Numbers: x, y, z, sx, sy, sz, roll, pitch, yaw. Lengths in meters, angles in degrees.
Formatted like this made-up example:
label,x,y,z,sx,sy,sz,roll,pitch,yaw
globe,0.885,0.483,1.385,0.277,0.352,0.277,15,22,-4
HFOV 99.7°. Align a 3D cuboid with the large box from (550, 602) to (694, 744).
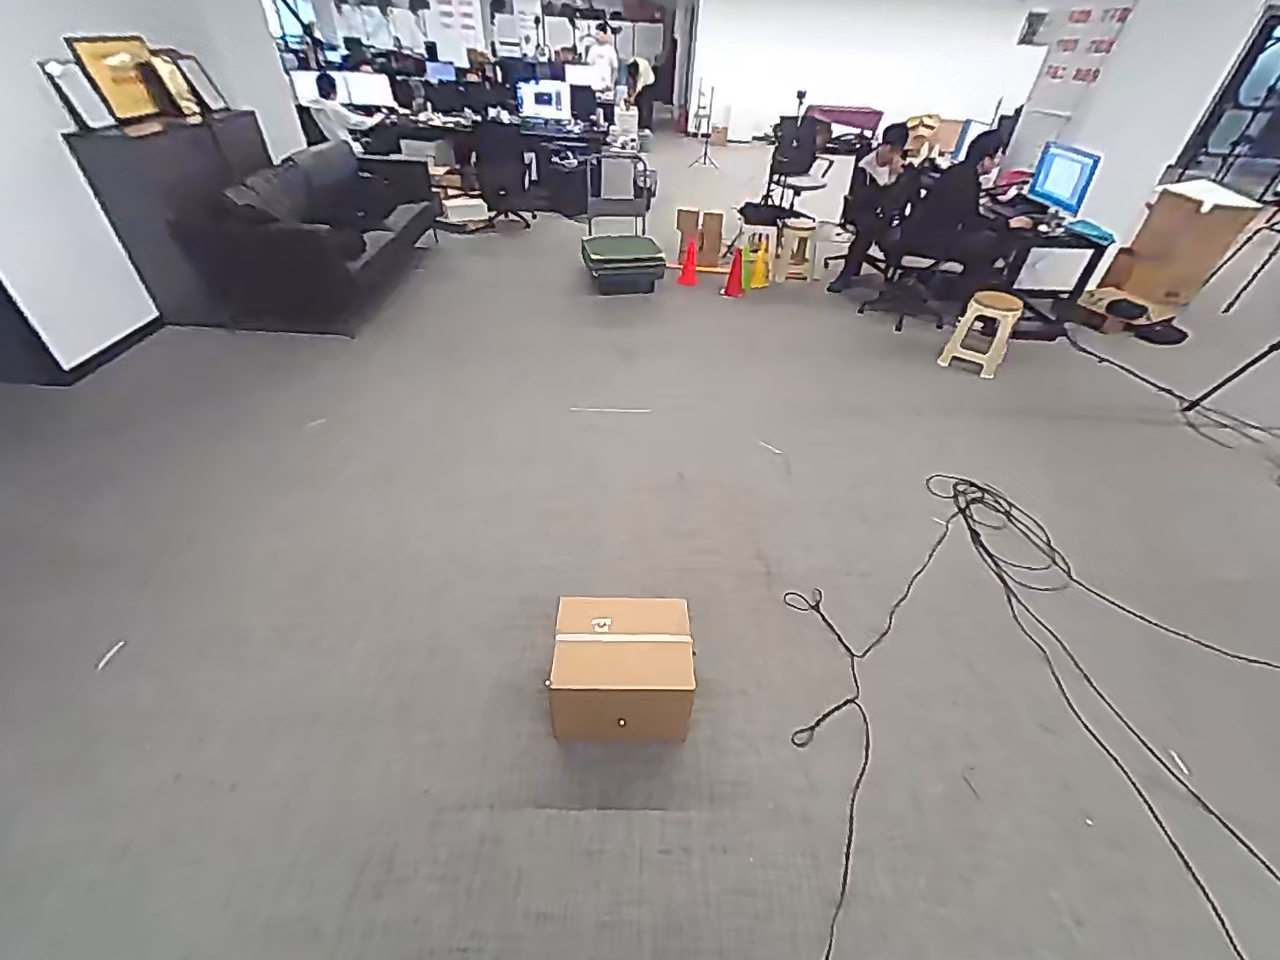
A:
label,x,y,z,sx,sy,sz,roll,pitch,yaw
large box,-0.055,0.603,1.693,0.408,0.320,0.320,0,39,-2
